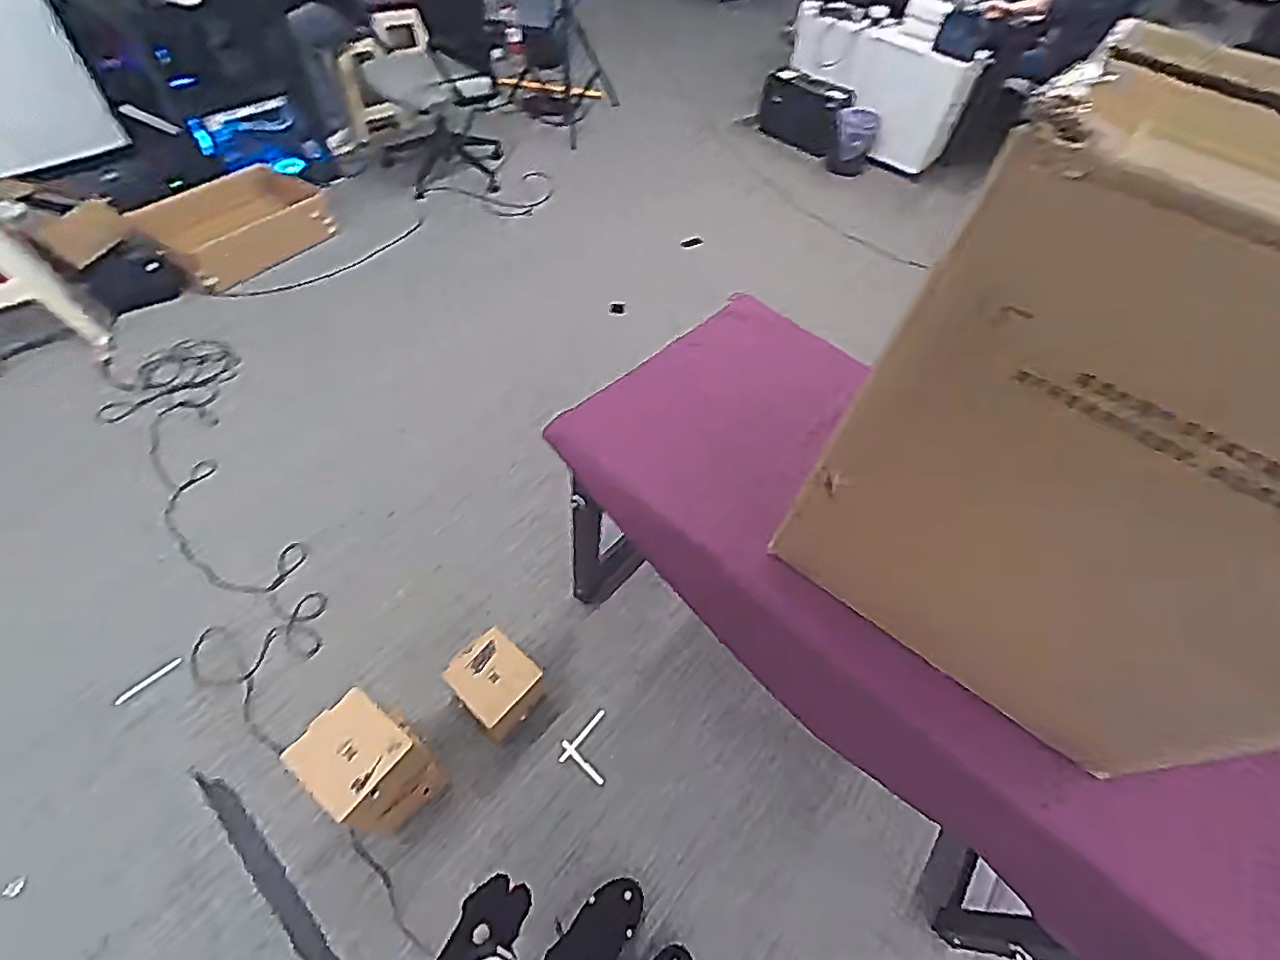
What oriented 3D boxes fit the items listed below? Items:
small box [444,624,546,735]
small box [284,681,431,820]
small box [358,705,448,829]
[{"bbox_3d":[-0.350,0.494,1.327,0.179,0.176,0.168,38,59,18],"label":"small box"},{"bbox_3d":[-0.548,0.541,1.070,0.179,0.176,0.168,34,57,17],"label":"small box"},{"bbox_3d":[-0.551,0.640,1.200,0.168,0.176,0.179,-34,63,-28],"label":"small box"}]
